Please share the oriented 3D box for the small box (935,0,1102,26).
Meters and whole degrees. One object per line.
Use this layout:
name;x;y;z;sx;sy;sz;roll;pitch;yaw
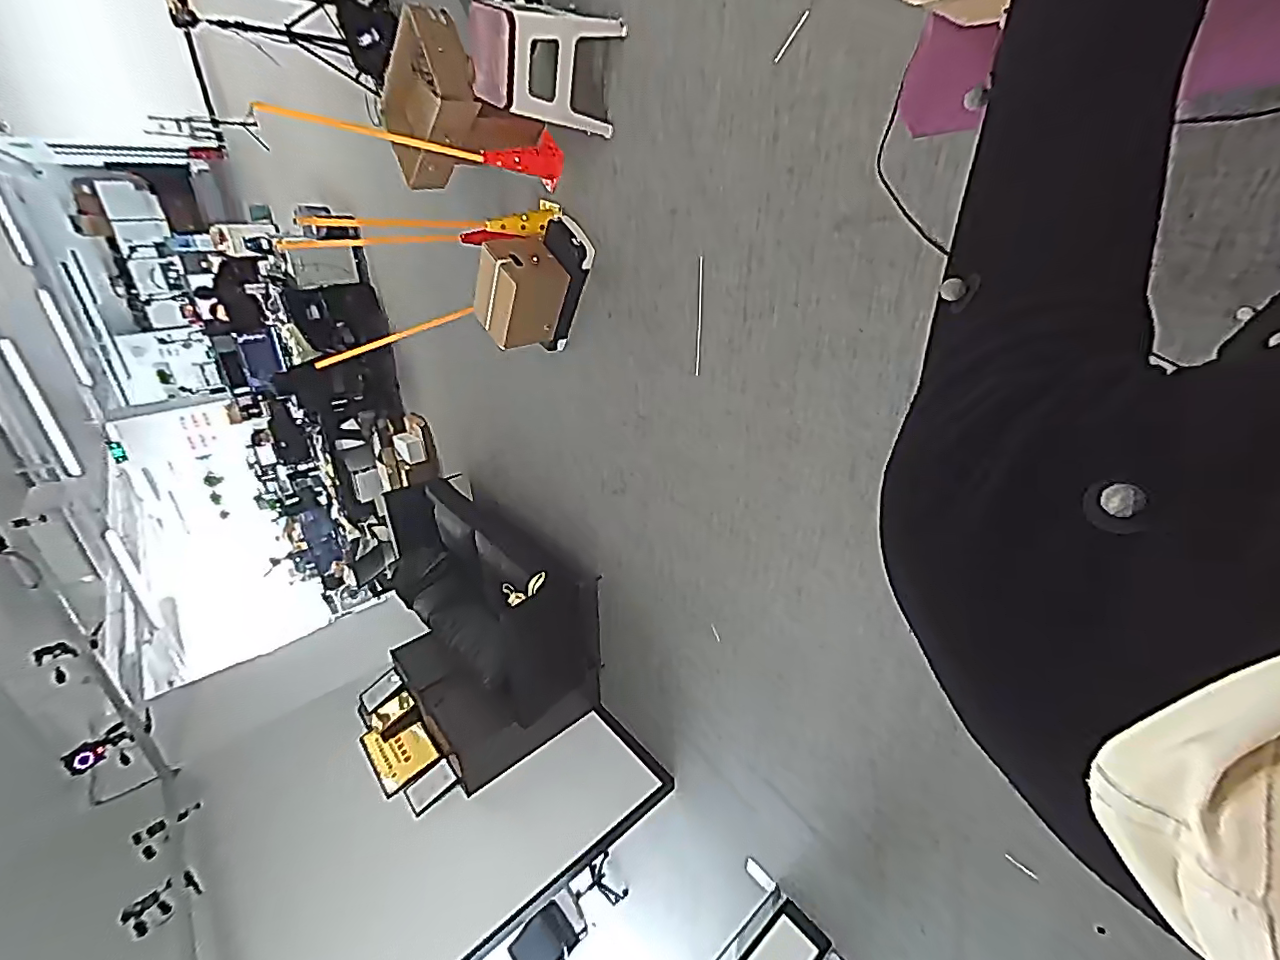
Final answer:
small box;0.429;-0.630;0.583;0.168;0.176;0.179;28;128;42
